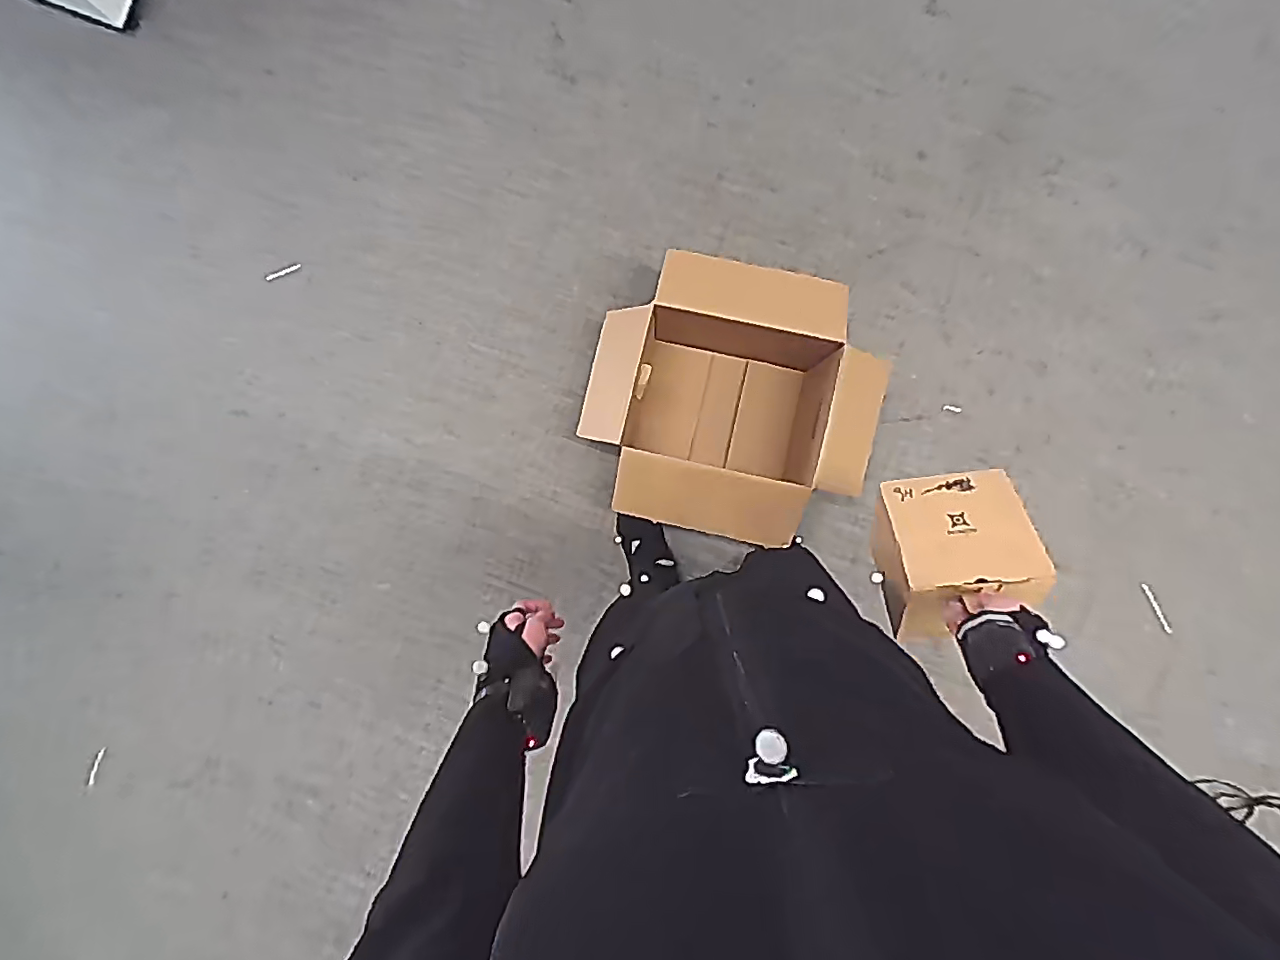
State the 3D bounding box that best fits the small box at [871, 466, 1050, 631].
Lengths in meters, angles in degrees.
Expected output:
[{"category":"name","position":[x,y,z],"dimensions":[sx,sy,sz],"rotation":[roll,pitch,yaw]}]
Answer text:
[{"category":"small box","position":[0.436,0.106,0.772],"dimensions":[0.168,0.176,0.179],"rotation":[-6,50,13]}]
